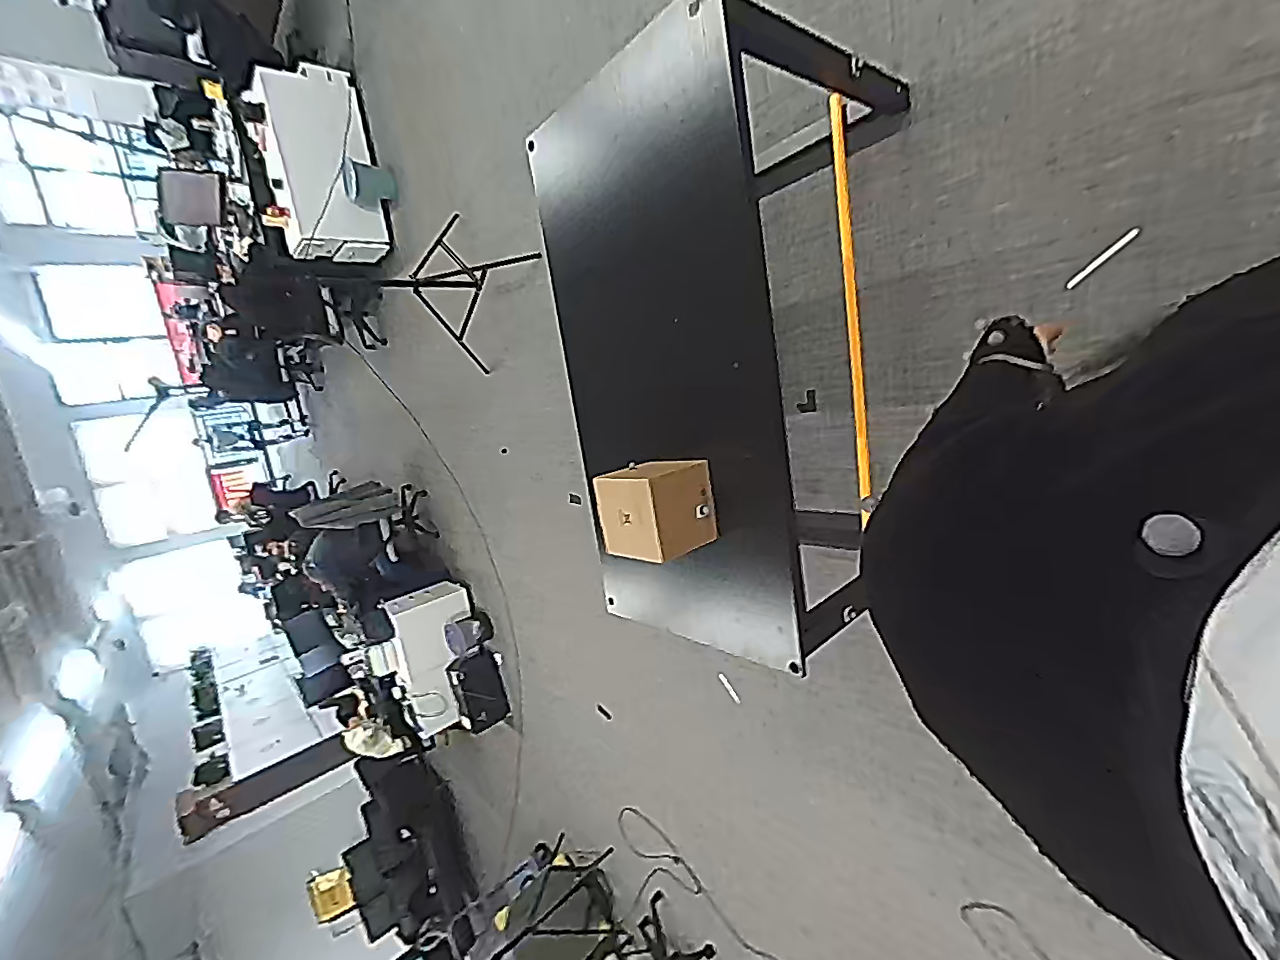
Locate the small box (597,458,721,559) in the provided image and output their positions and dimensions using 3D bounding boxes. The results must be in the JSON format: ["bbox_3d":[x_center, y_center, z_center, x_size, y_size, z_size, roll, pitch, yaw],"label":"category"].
[{"bbox_3d":[0.040,0.051,1.113,0.179,0.176,0.168,0,104,50],"label":"small box"}]
